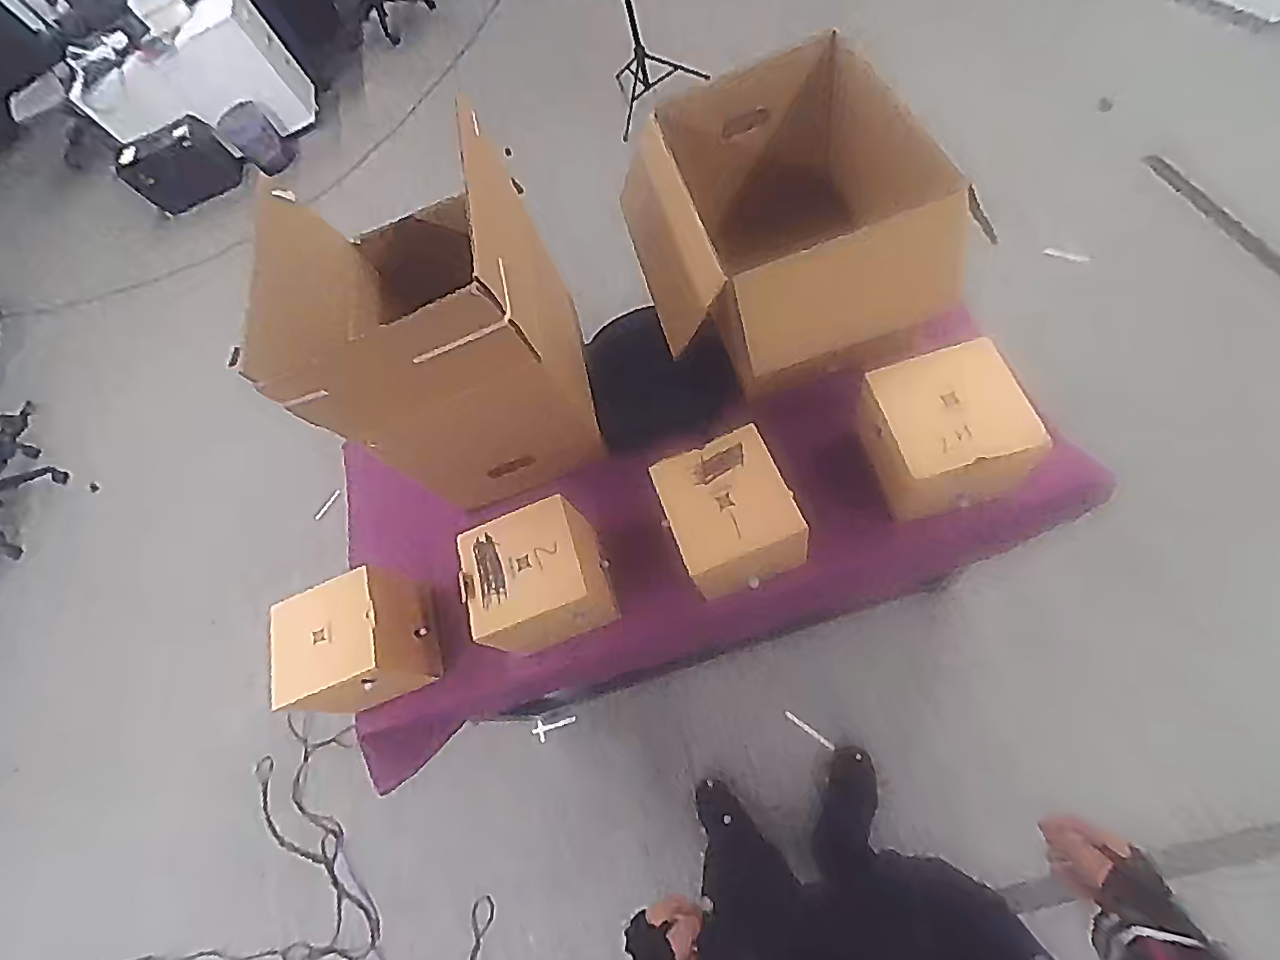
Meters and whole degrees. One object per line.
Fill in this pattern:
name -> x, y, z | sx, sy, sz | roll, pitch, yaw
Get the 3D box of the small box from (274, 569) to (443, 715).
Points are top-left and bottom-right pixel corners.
small box -> -0.453, 0.271, 0.880 | 0.179, 0.176, 0.168 | -24, 62, 3

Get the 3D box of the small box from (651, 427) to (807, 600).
small box -> 0.133, 0.057, 0.803 | 0.168, 0.176, 0.179 | -23, 63, 6
